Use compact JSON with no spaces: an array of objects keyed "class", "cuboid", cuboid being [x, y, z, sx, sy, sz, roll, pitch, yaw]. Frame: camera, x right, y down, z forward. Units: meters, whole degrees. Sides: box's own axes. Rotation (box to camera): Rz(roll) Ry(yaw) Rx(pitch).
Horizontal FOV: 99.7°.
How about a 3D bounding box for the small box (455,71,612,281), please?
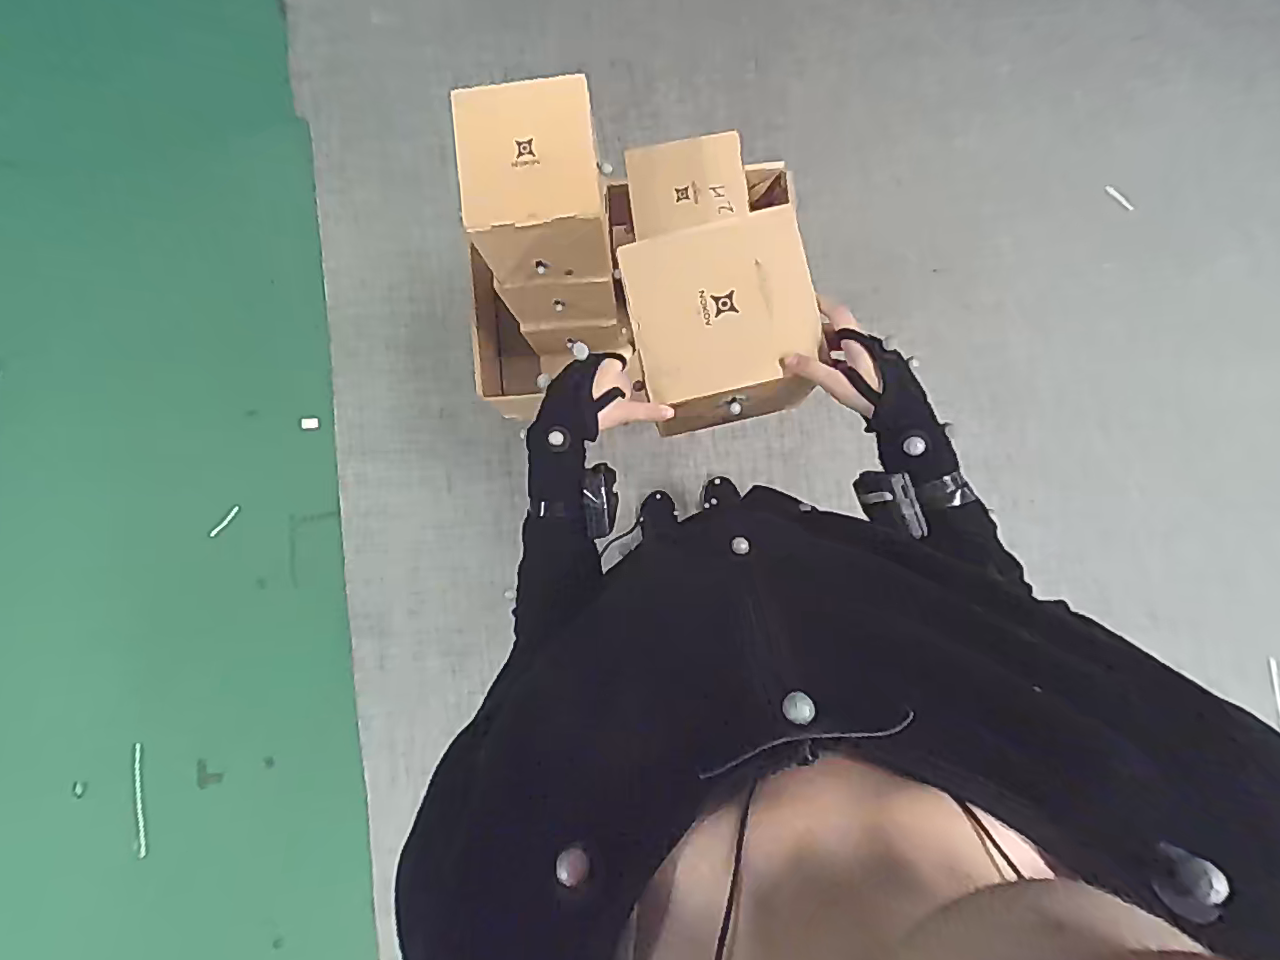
[{"class":"small box","cuboid":[-0.131,-0.389,0.718,0.168,0.176,0.179,-7,88,1]}]
